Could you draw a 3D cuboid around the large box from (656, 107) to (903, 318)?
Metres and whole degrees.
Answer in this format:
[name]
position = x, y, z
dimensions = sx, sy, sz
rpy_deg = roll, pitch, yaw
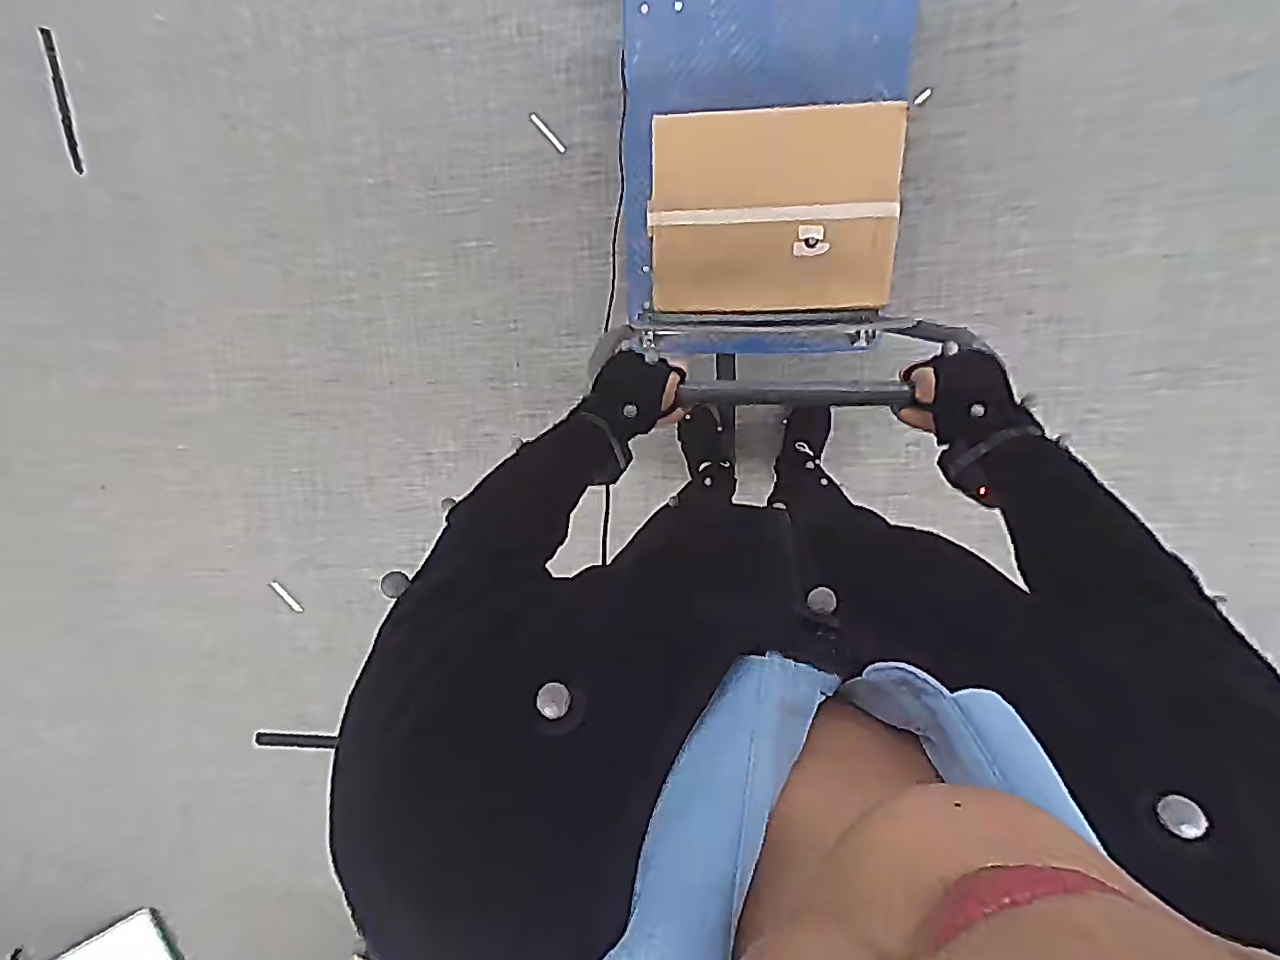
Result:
[large box]
position = 0.243, -0.489, 1.067
dimensions = 0.408, 0.320, 0.320
rpy_deg = 1, 106, 6
